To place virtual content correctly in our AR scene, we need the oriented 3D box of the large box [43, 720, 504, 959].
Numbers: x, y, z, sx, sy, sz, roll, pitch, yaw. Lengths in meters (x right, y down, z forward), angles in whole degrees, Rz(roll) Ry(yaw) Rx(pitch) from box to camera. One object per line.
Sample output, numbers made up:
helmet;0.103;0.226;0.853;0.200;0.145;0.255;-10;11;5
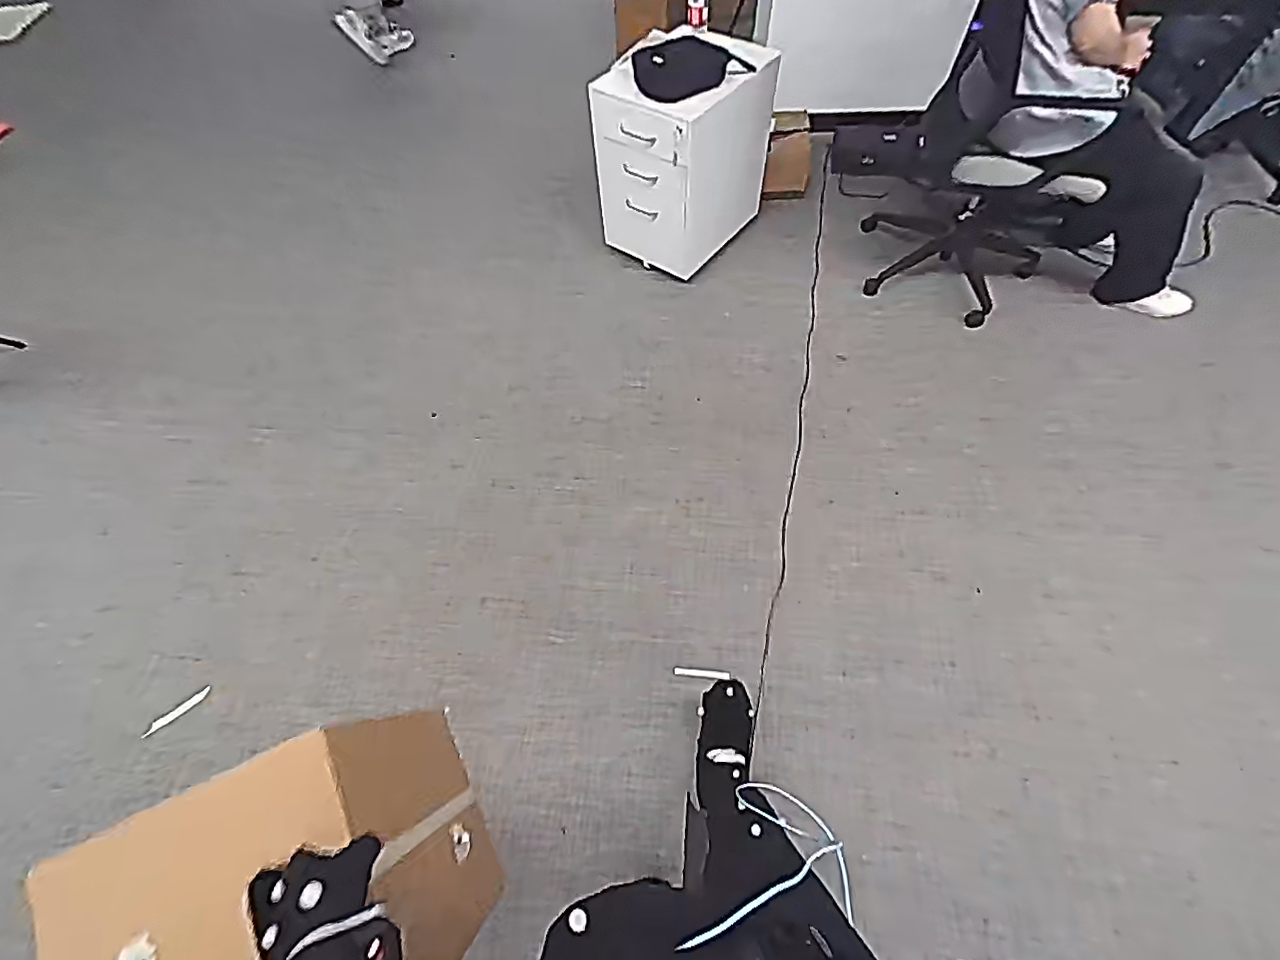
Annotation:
large box;-0.428;0.563;0.730;0.320;0.408;0.320;-26;72;-9
